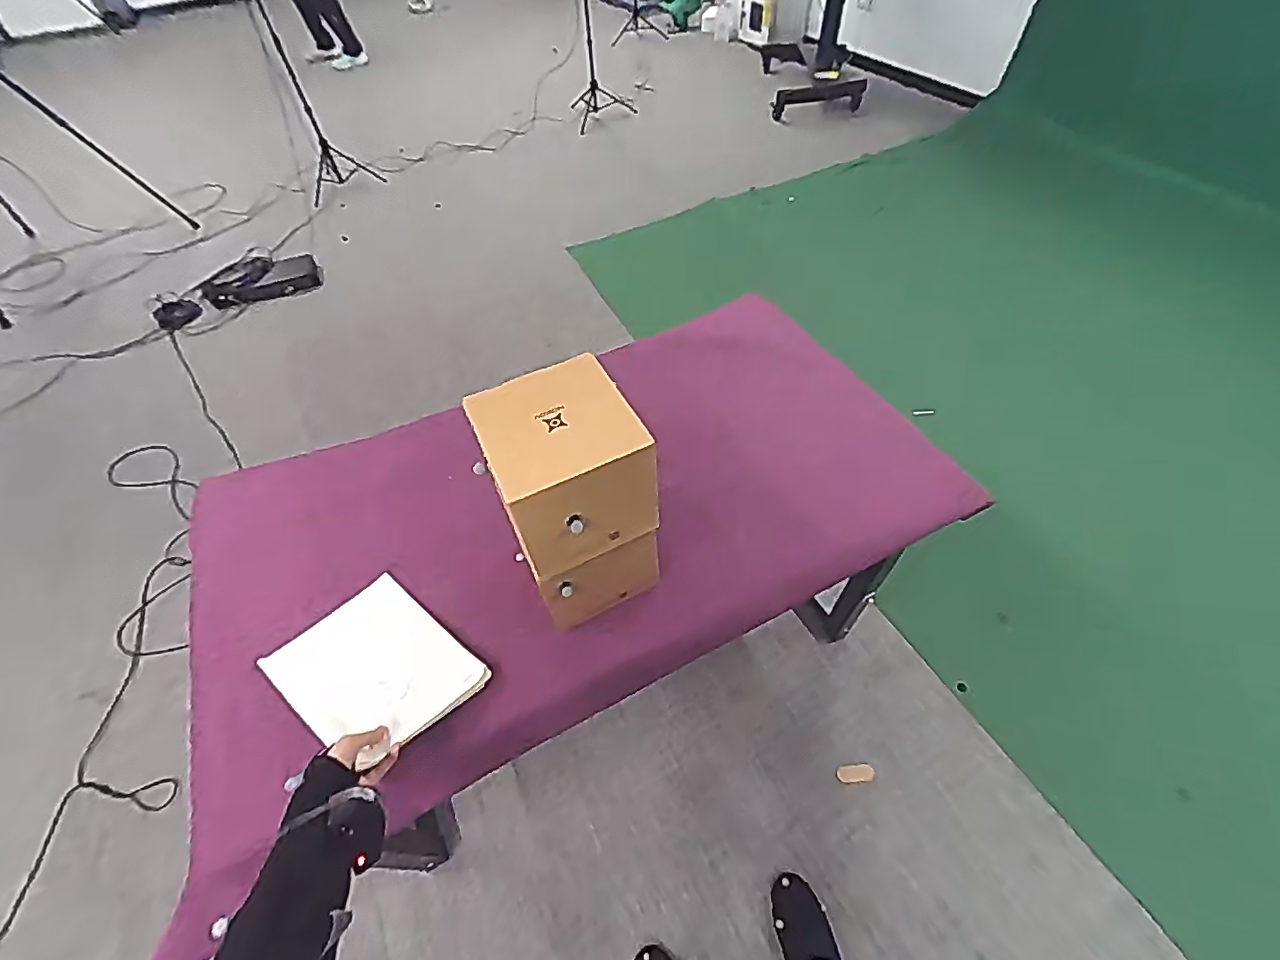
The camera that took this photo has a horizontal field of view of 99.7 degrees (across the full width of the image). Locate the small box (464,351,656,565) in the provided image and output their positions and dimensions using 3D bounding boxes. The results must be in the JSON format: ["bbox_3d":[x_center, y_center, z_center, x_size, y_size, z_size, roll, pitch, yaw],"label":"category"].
[{"bbox_3d":[-0.089,-0.019,0.657,0.168,0.176,0.179,-23,54,-14],"label":"small box"}]
